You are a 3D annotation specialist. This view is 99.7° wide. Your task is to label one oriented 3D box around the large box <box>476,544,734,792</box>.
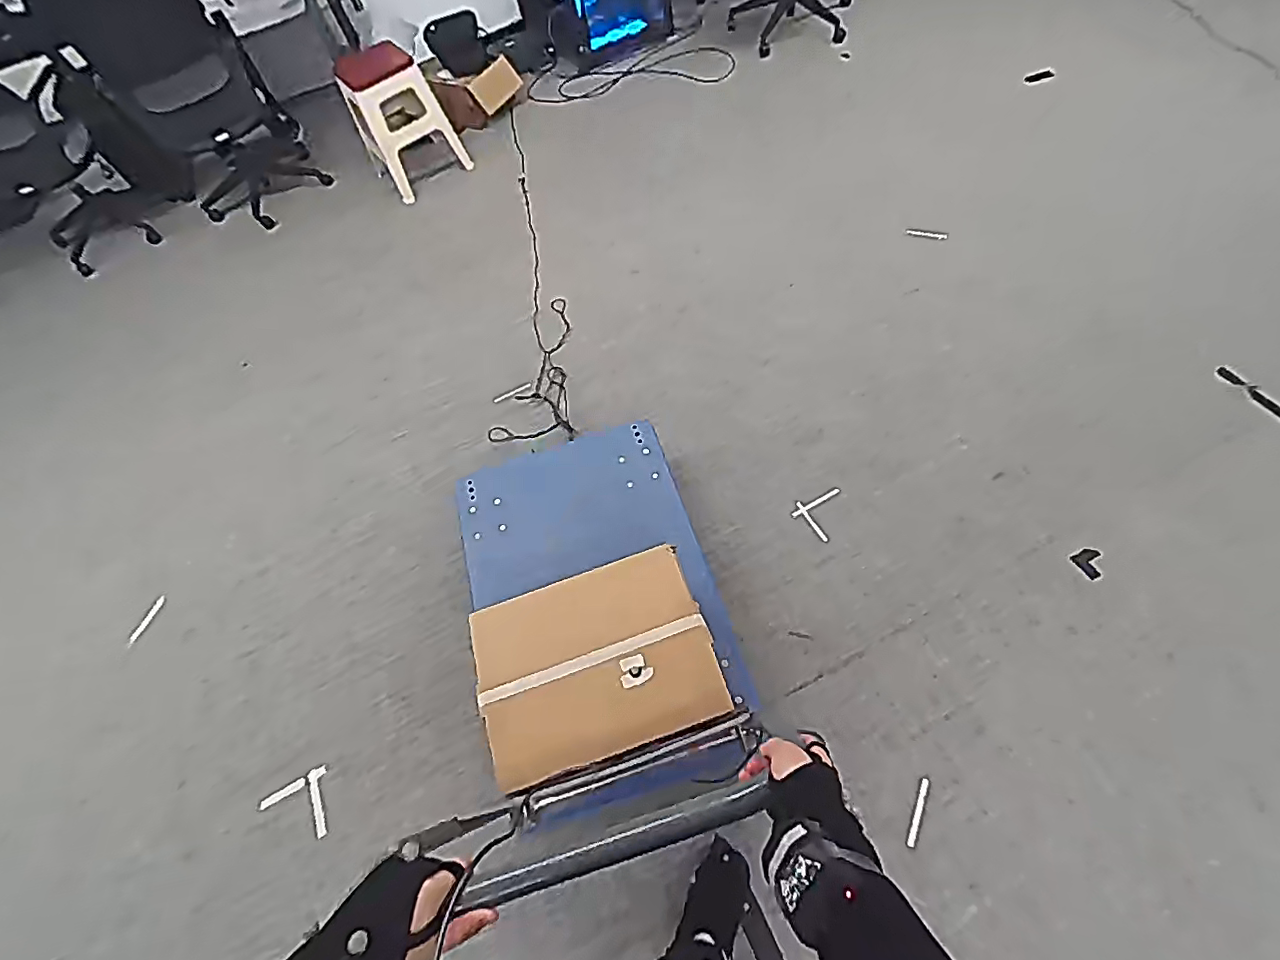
[{"bbox_3d":[-0.060,0.383,1.083,0.408,0.320,0.320,-19,62,-3],"label":"large box"}]
